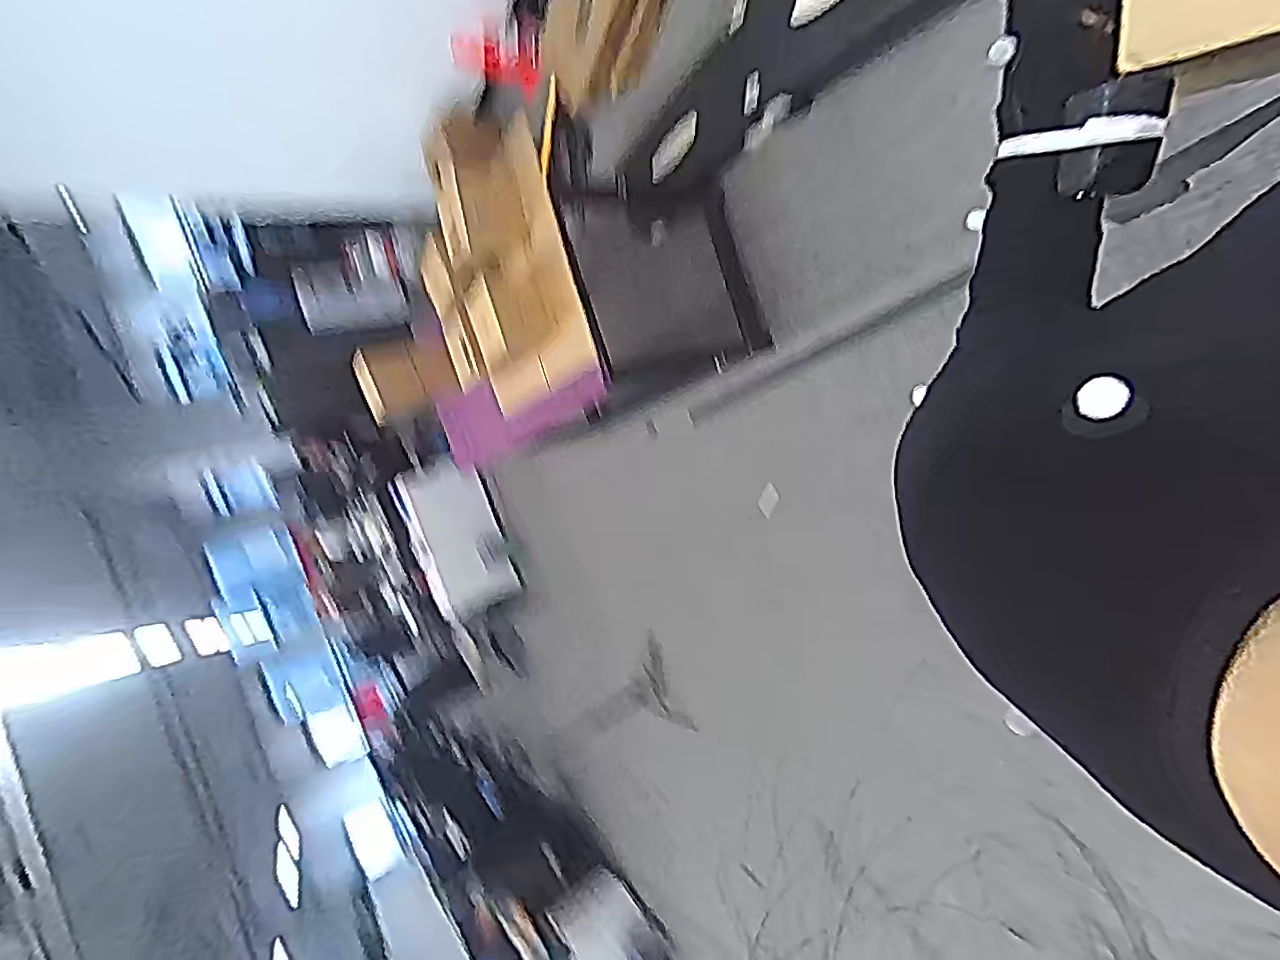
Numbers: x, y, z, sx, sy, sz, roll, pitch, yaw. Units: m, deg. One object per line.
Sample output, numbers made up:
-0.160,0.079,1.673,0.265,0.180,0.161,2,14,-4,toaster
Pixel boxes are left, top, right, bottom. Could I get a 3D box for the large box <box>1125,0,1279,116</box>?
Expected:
0.527,-0.415,0.250,0.408,0.320,0.320,12,121,45,large box
